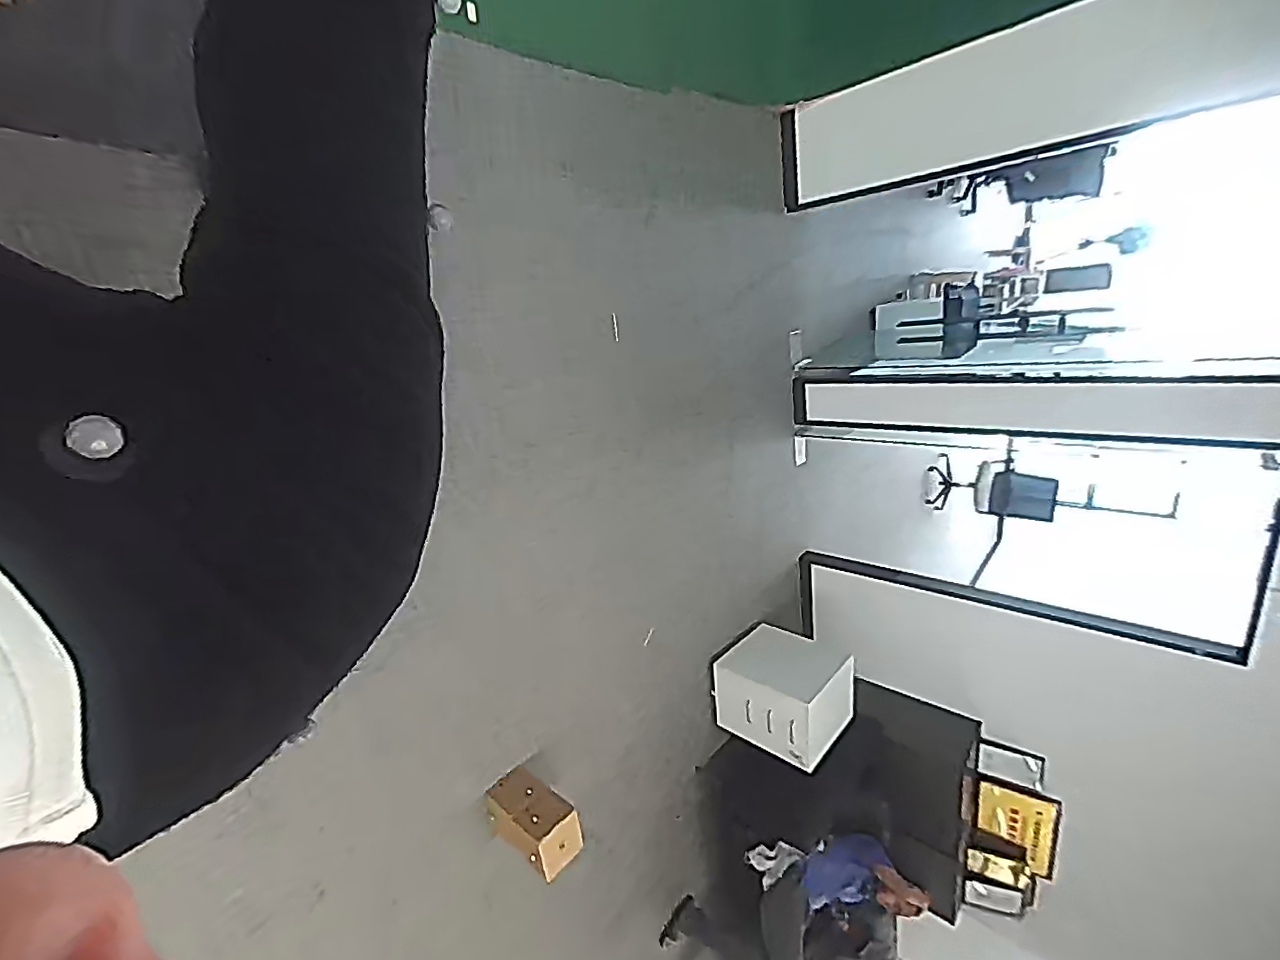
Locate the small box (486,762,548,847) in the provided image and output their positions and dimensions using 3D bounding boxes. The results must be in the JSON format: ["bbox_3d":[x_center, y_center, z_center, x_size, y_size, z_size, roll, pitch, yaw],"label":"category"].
[{"bbox_3d":[-0.448,1.193,2.004,0.168,0.176,0.179,-24,114,-44],"label":"small box"}]

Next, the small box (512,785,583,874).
[{"bbox_3d":[-0.327,1.212,1.898,0.168,0.176,0.179,-26,117,-42],"label":"small box"}]
